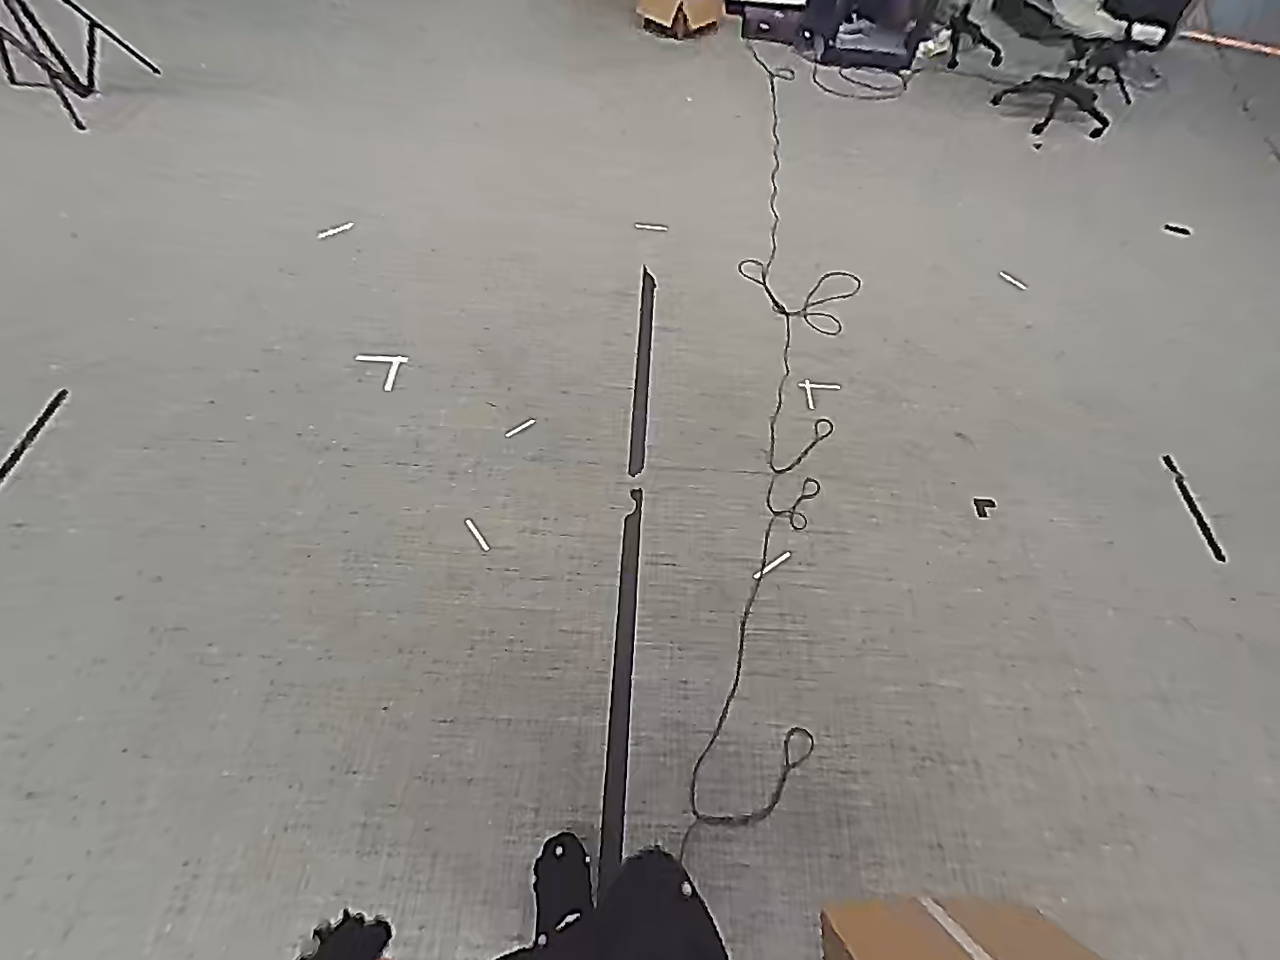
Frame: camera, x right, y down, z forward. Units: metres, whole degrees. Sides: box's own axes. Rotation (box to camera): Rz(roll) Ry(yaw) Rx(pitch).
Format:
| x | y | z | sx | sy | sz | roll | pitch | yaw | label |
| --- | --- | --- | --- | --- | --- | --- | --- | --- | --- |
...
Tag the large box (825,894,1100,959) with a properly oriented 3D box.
| x | y | z | sx | sy | sz | roll | pitch | yaw | label |
| --- | --- | --- | --- | --- | --- | --- | --- | --- | --- |
| 0.430 | 0.739 | 0.592 | 0.320 | 0.408 | 0.320 | 0 | 79 | -1 | large box |
